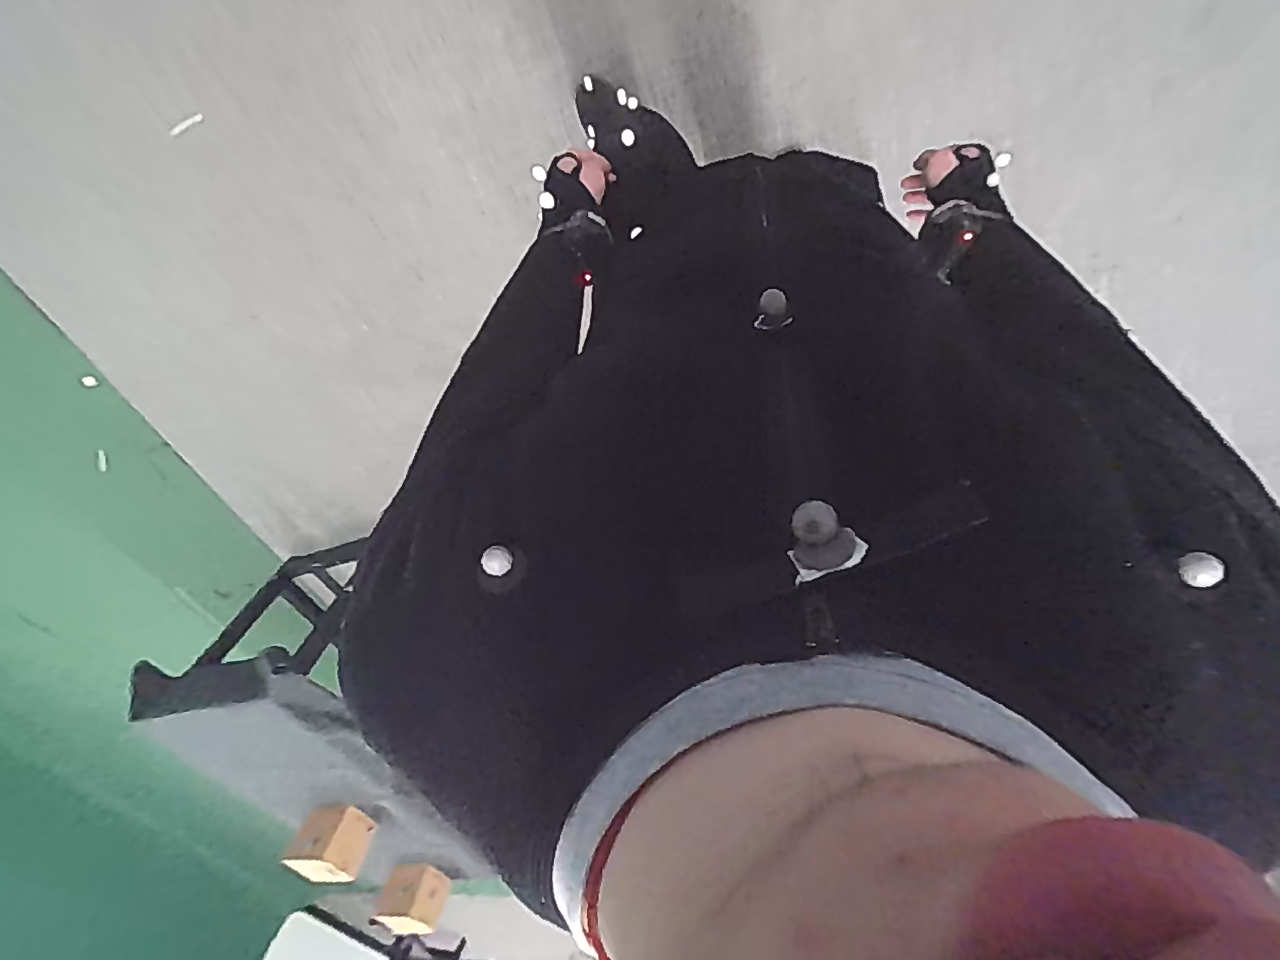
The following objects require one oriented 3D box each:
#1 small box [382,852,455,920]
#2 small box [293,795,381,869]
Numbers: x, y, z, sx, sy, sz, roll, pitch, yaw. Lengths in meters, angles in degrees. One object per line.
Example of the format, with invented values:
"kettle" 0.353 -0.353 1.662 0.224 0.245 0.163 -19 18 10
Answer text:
"small box" -0.840 1.560 2.081 0.179 0.176 0.168 -15 121 18
"small box" -1.014 1.193 1.836 0.179 0.176 0.168 -13 123 18
